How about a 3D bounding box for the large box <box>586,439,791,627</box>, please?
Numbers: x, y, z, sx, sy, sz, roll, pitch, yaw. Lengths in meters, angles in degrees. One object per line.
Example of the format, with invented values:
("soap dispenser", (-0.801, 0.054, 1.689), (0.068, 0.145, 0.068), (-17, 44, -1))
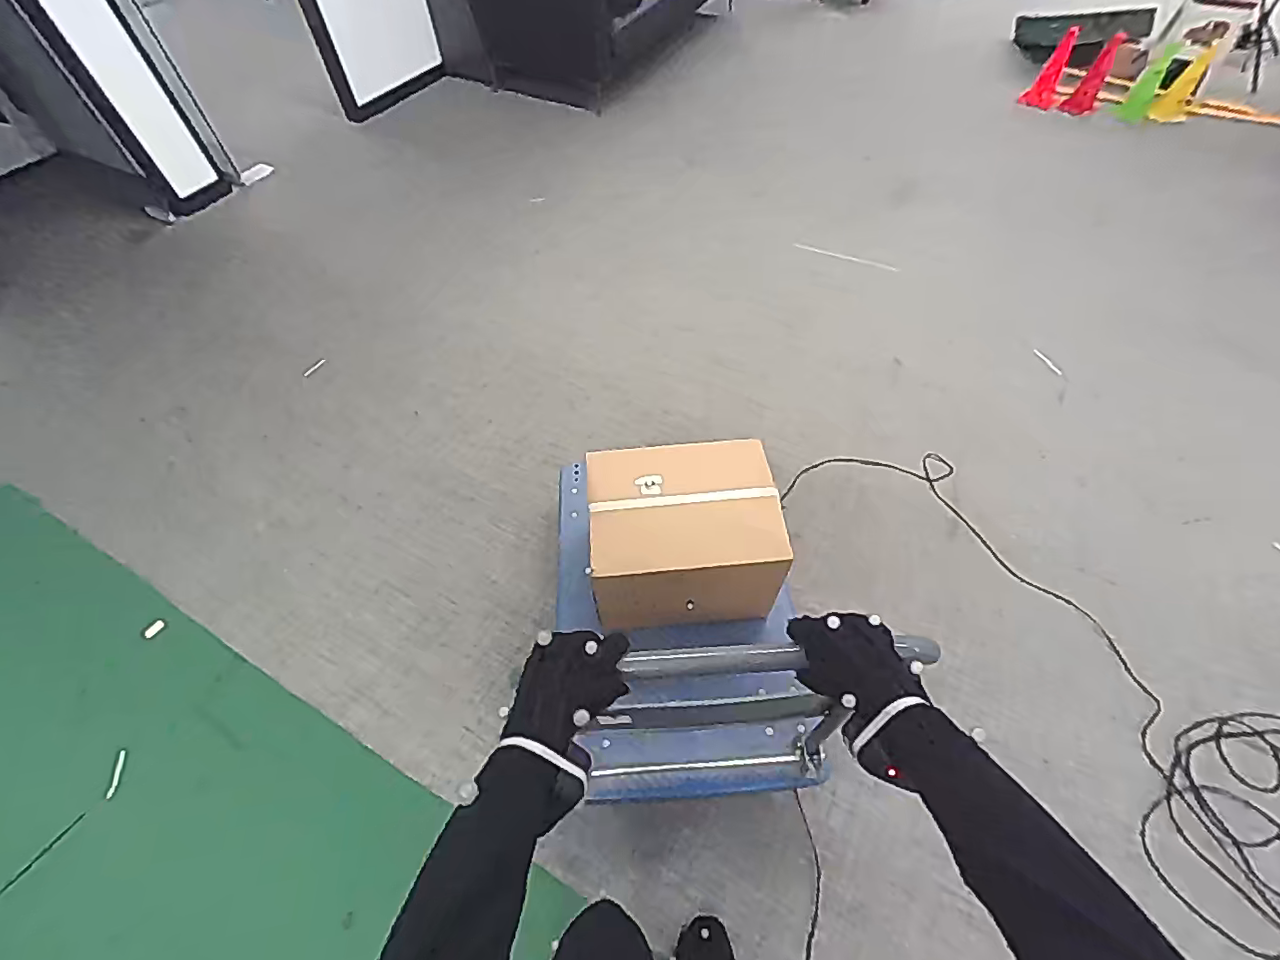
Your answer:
("large box", (0.096, 0.134, 1.277), (0.408, 0.320, 0.320), (-5, 55, -2))
